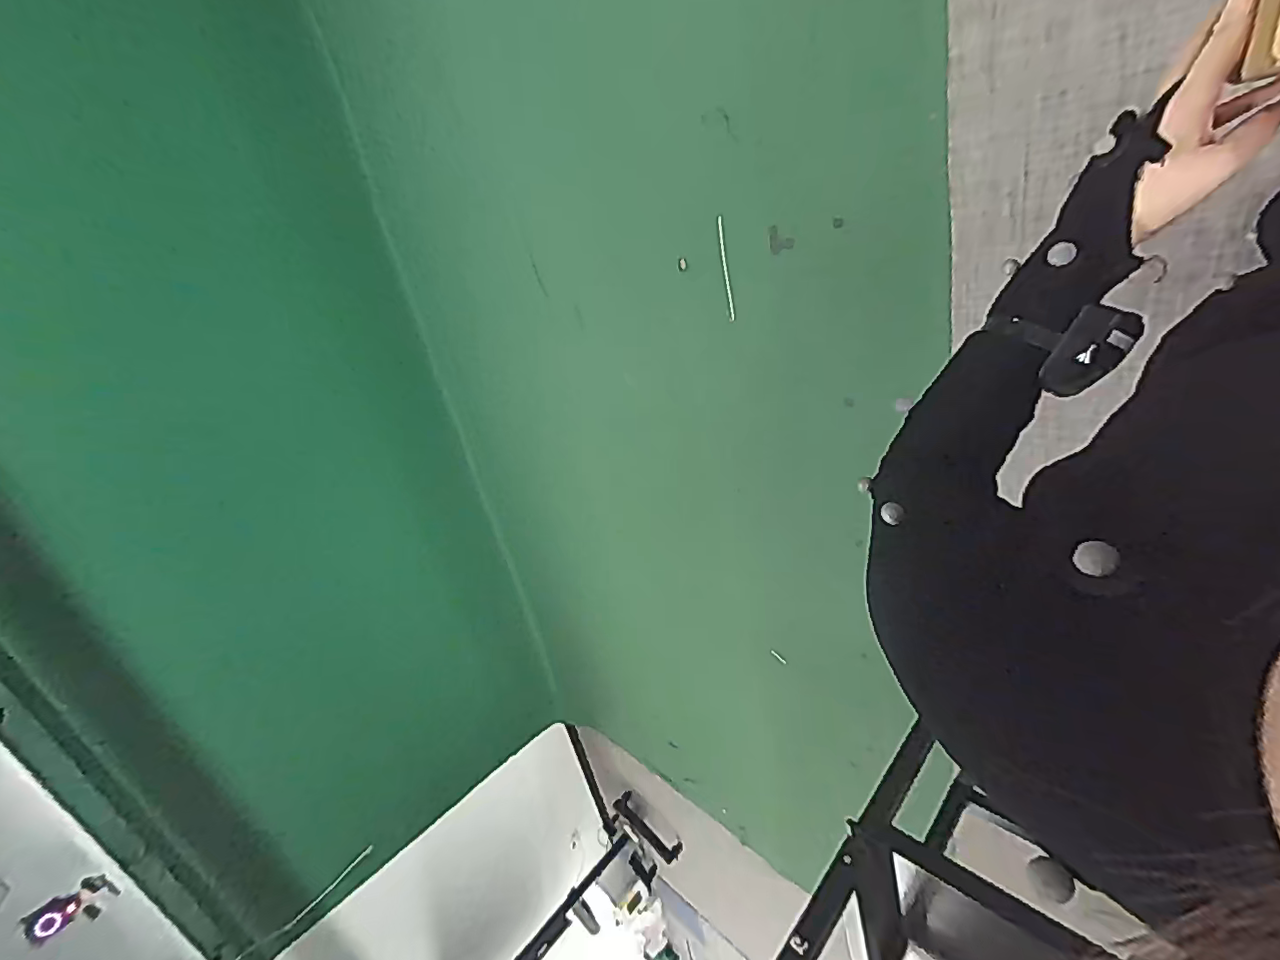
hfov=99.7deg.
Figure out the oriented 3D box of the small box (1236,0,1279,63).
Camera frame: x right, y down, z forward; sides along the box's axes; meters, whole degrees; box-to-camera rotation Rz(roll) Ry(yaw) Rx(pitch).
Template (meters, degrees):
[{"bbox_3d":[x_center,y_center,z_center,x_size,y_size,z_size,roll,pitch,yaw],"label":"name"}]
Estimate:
[{"bbox_3d":[0.389,-0.301,0.223,0.168,0.176,0.179,10,122,39],"label":"small box"}]
